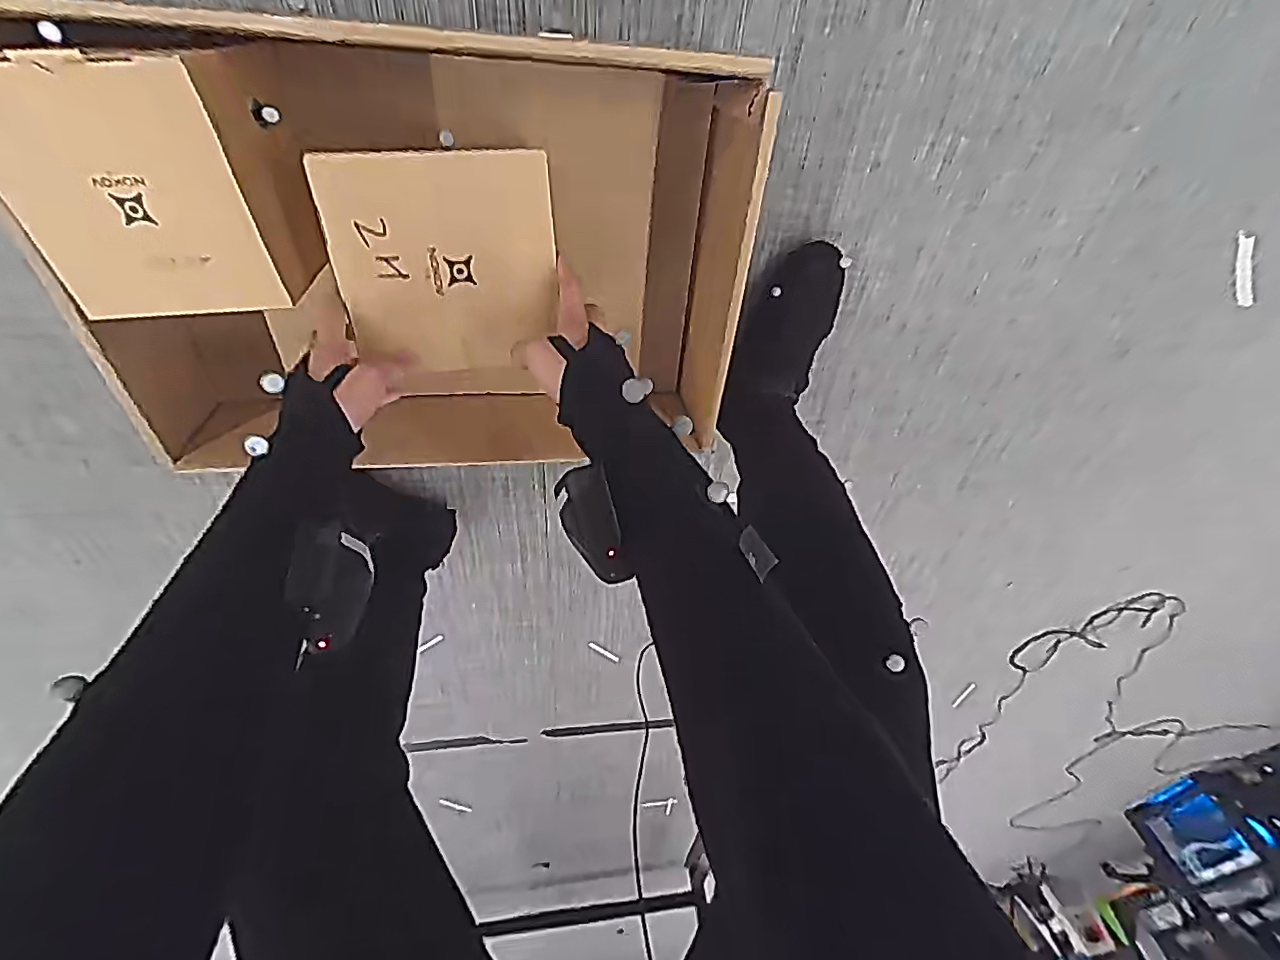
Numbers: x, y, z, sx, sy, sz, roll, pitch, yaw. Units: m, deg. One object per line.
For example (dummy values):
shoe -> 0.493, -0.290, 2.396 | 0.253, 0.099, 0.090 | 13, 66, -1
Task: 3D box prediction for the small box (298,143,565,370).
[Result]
small box -> -0.169, -0.211, 0.496 | 0.179, 0.176, 0.168 | -7, 120, -9
